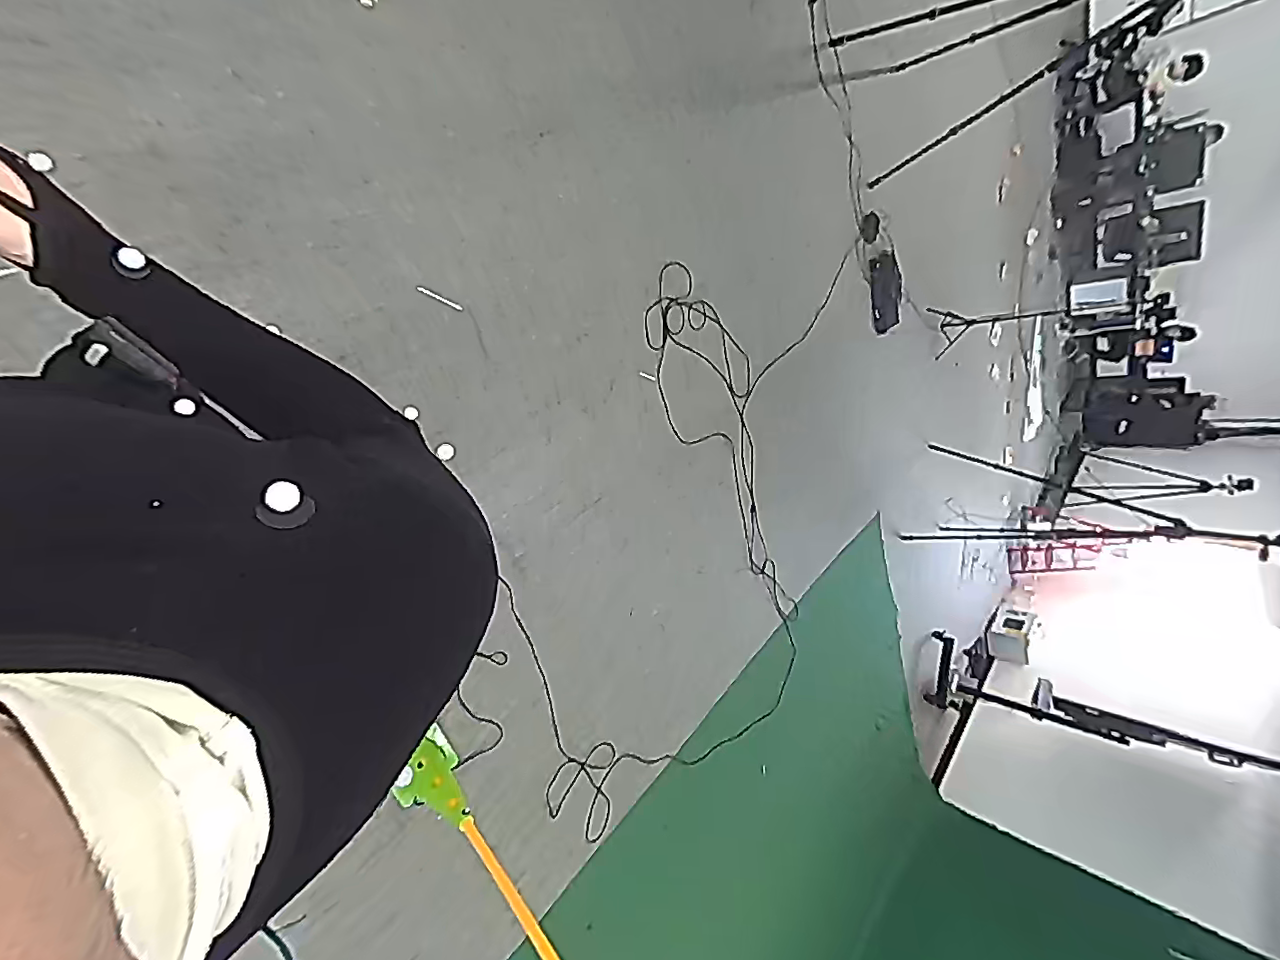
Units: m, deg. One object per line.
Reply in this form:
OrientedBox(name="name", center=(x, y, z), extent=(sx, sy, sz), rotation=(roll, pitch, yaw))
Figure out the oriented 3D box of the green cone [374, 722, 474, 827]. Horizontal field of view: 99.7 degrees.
OrientedBox(name="green cone", center=(-0.598, 0.917, 1.599), extent=(0.202, 0.368, 0.200), rotation=(-36, 118, -36))
